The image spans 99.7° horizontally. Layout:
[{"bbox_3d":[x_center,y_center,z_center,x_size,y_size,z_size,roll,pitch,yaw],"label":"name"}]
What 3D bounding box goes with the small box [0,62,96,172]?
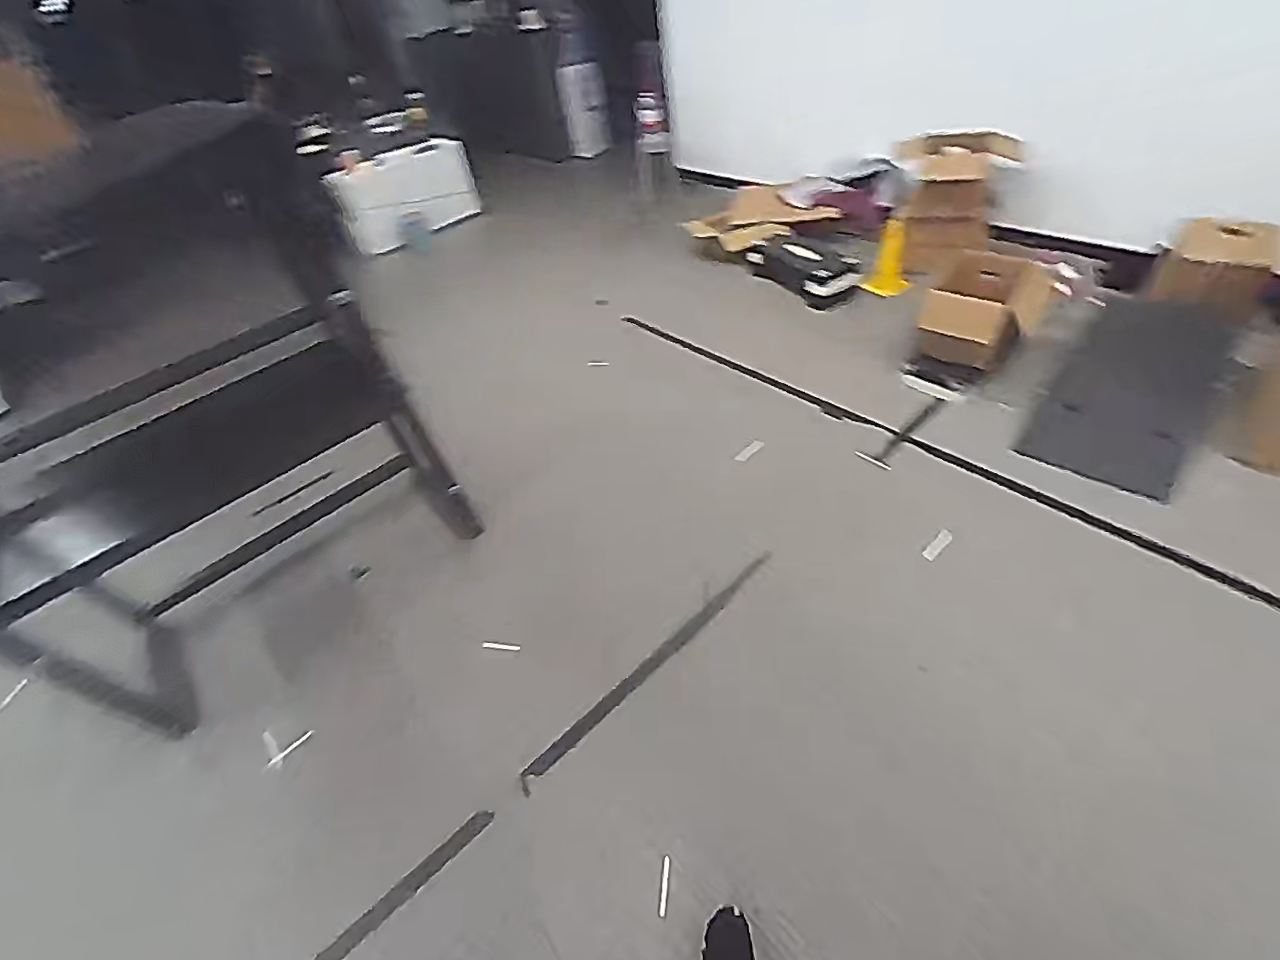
[{"bbox_3d":[-1.399,-0.828,1.230,0.179,0.176,0.168,-34,48,-22],"label":"small box"}]
